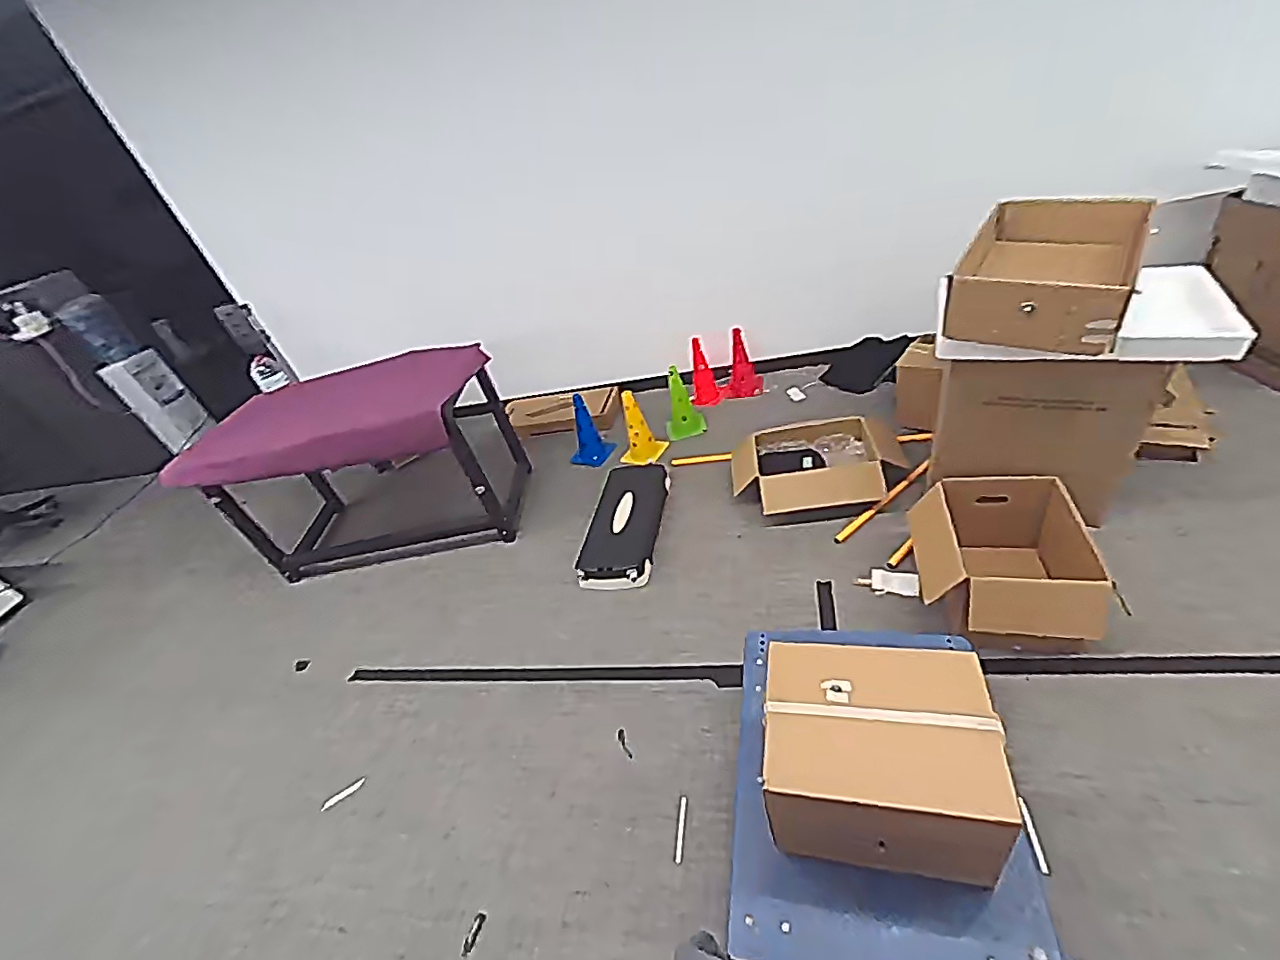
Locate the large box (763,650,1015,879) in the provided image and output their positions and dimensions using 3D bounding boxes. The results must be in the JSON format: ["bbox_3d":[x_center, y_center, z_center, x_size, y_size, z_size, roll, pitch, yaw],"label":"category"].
[{"bbox_3d":[0.482,0.575,1.122,0.408,0.320,0.320,-4,37,19],"label":"large box"}]
